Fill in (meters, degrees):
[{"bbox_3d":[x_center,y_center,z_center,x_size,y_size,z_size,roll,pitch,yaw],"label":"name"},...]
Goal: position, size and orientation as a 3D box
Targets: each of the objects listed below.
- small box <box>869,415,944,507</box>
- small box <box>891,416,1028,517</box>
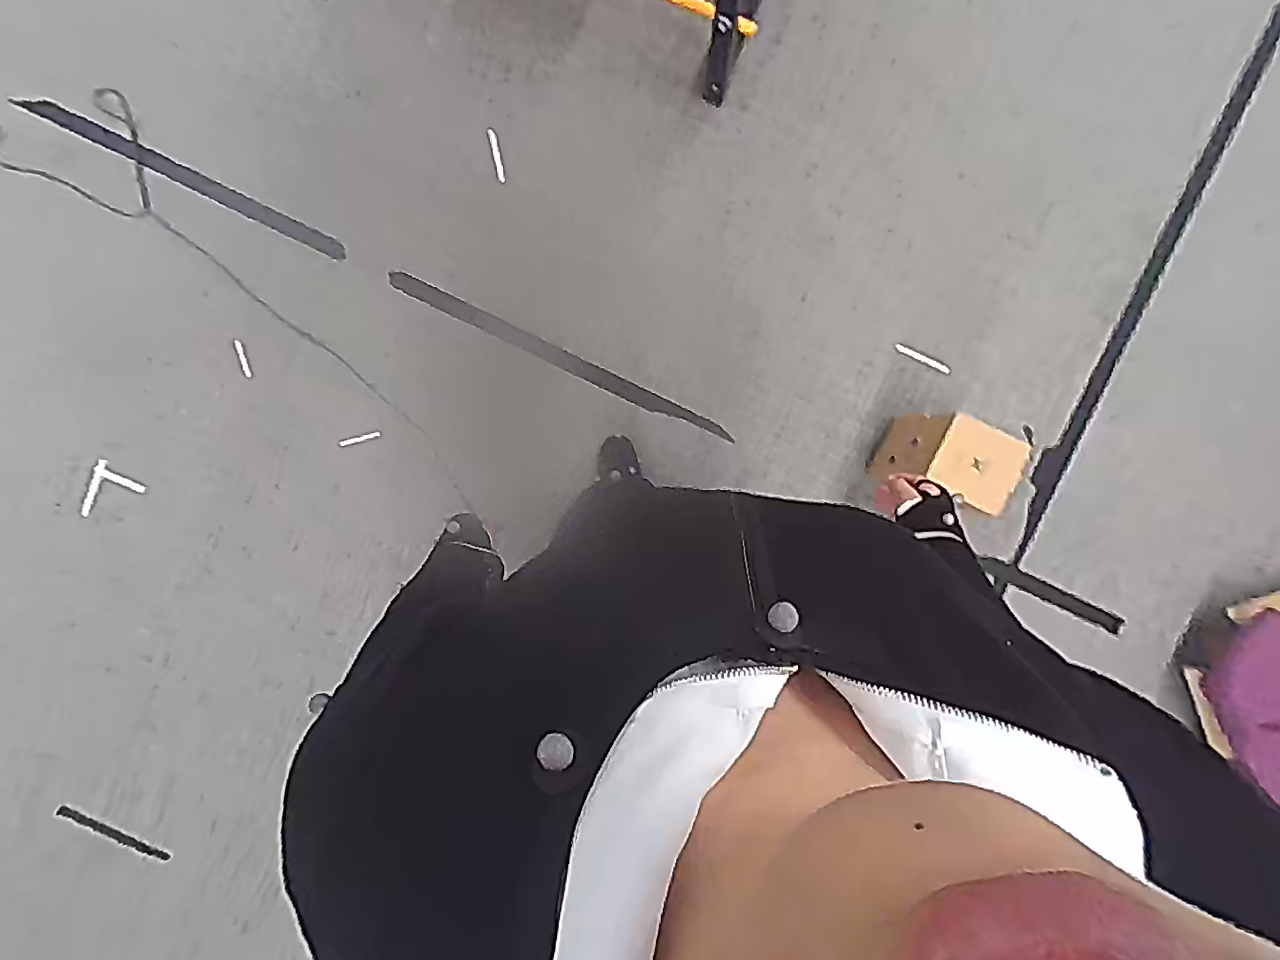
[{"bbox_3d":[0.717,-0.048,1.386,0.168,0.176,0.179,27,93,1],"label":"small box"},{"bbox_3d":[0.711,-0.032,1.224,0.179,0.176,0.168,25,92,2],"label":"small box"}]
